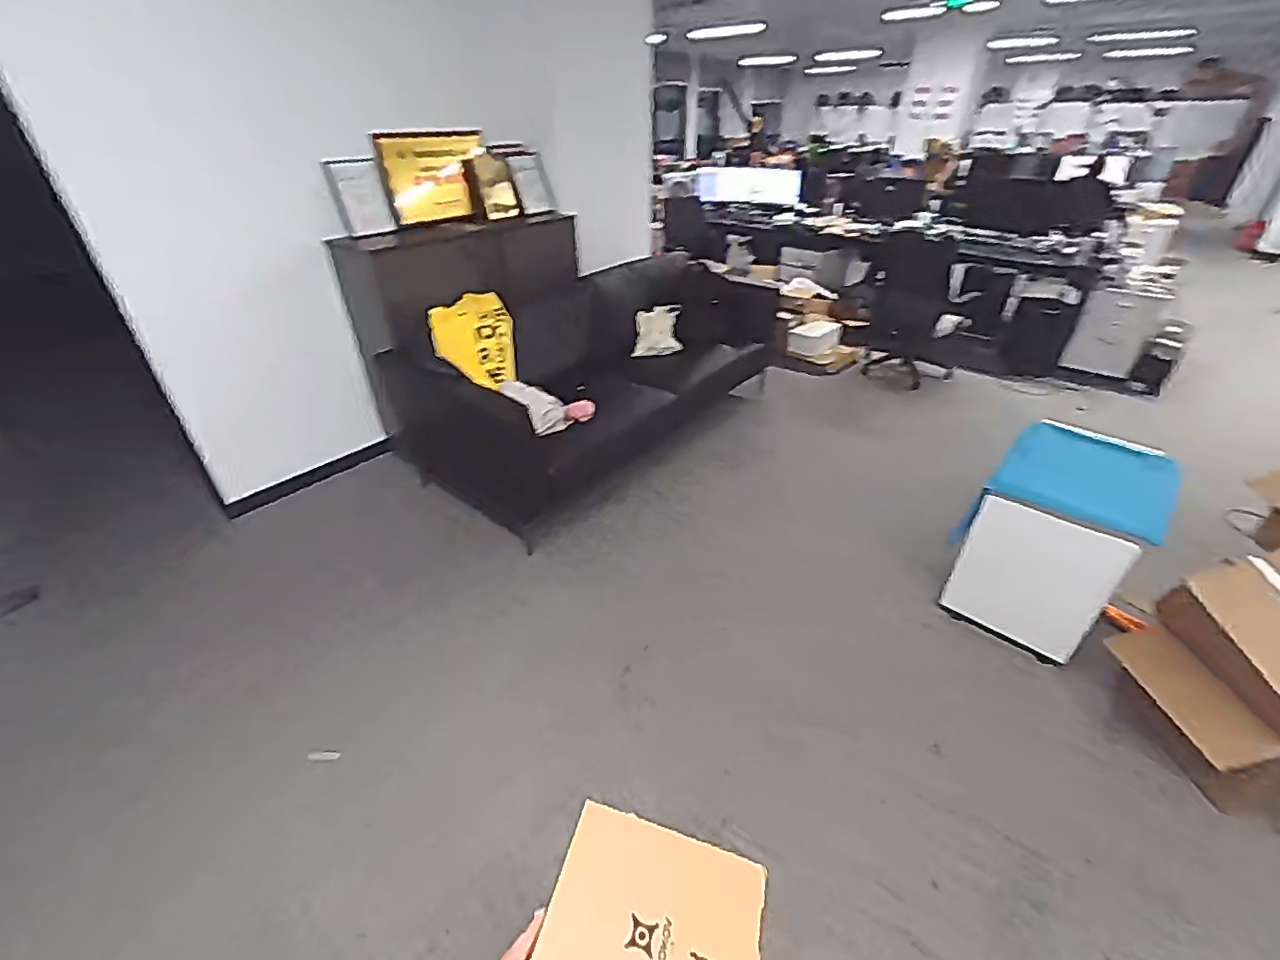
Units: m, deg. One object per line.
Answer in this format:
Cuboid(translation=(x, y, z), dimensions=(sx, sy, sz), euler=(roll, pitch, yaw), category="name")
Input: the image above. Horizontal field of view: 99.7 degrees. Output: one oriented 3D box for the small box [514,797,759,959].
Cuboid(translation=(-0.009, 0.424, 0.475), dimensions=(0.179, 0.176, 0.168), euler=(16, 38, 9), category="small box")
